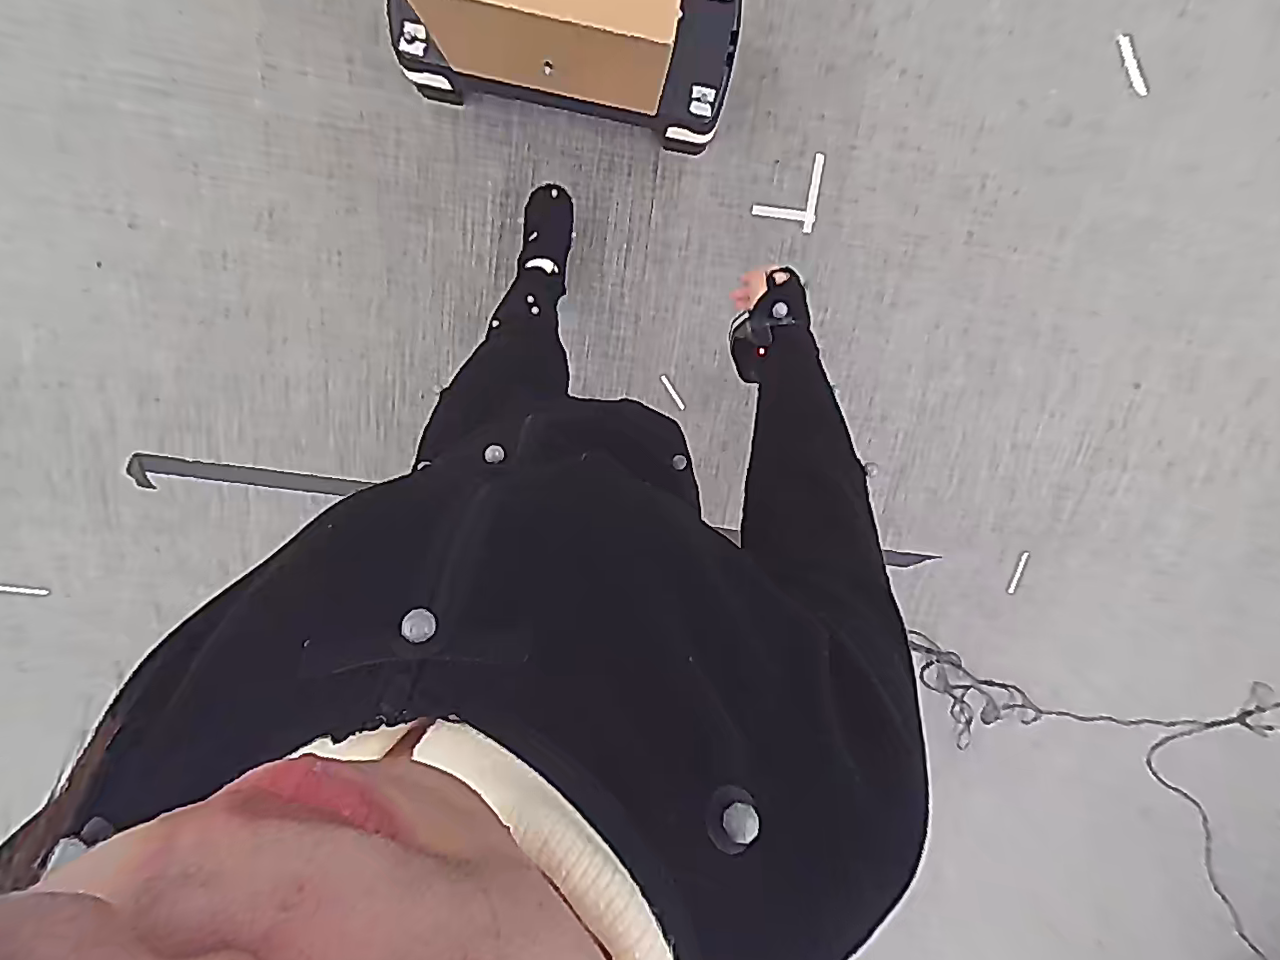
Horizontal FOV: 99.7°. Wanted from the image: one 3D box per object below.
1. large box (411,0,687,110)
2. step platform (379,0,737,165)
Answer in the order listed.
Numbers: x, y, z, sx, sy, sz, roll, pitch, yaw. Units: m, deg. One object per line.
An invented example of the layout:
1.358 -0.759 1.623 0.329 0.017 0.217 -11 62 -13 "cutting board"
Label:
-0.120 -0.849 0.868 0.408 0.320 0.320 8 106 -5 "large box"
-0.154 -0.906 1.098 0.684 0.204 0.286 13 106 -7 "step platform"
